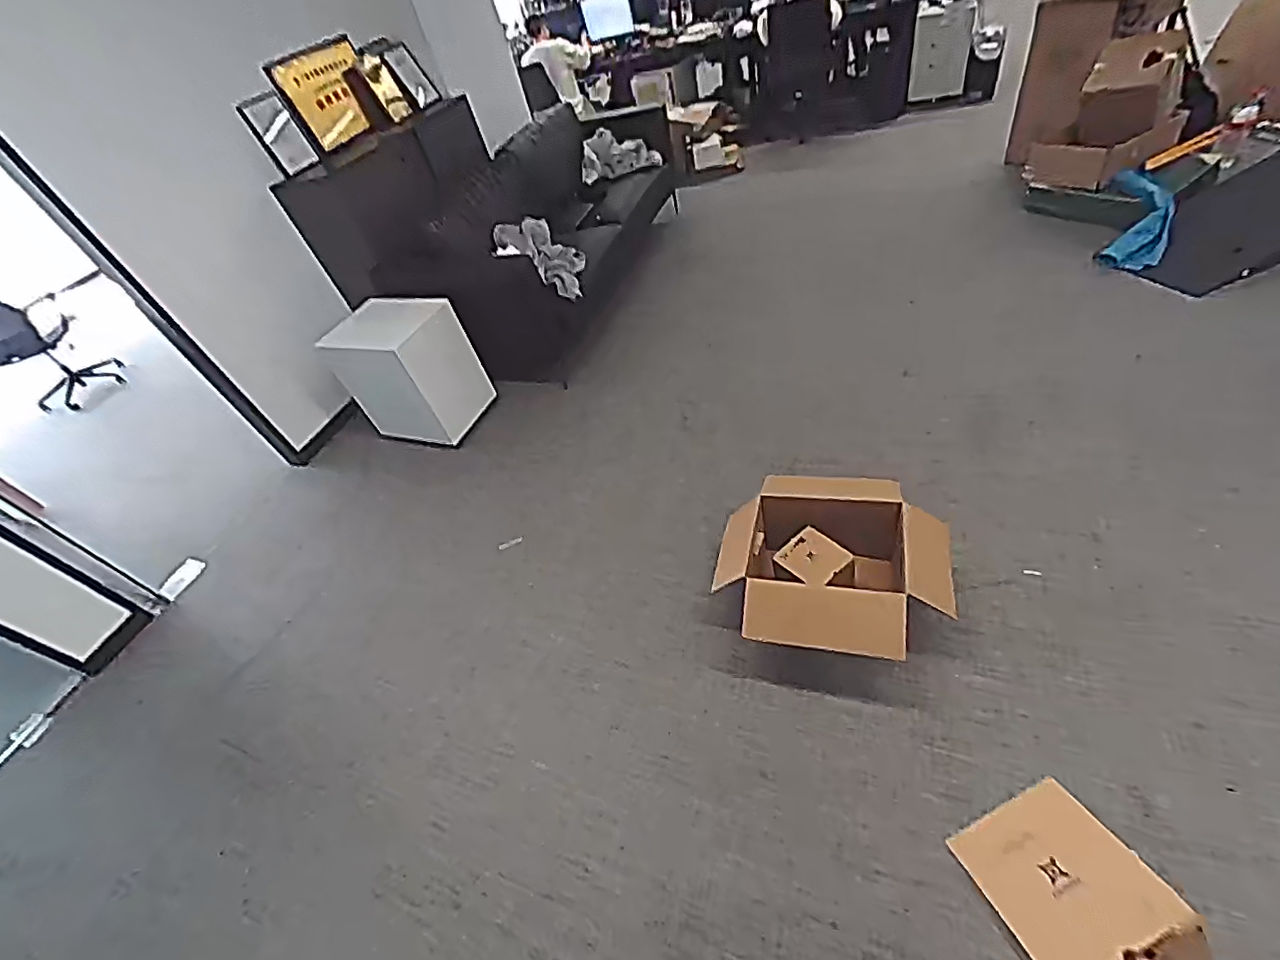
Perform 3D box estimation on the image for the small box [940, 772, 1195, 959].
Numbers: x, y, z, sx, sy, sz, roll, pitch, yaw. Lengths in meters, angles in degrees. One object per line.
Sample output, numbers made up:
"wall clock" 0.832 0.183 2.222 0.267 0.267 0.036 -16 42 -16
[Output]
"small box" 0.521 0.517 0.665 0.168 0.176 0.179 -31 20 0
